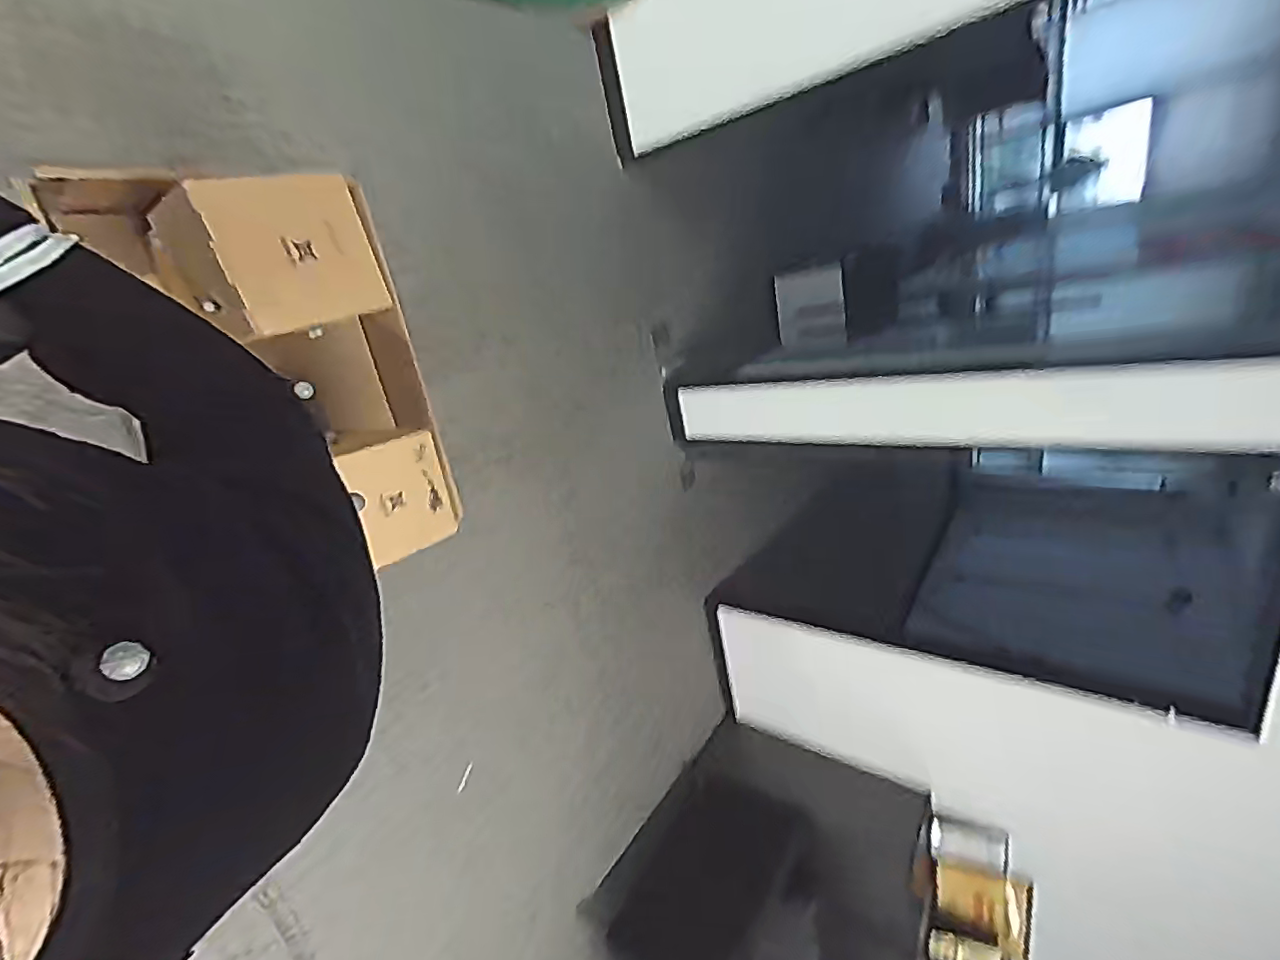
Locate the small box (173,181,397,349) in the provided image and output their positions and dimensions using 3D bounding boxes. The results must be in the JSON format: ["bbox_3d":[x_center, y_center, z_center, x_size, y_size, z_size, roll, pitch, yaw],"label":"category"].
[{"bbox_3d":[-0.462,-0.274,0.702,0.179,0.176,0.168,-35,121,-43],"label":"small box"}]

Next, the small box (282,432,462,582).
[{"bbox_3d":[-0.403,0.029,0.806,0.179,0.176,0.168,-27,115,-45],"label":"small box"}]
